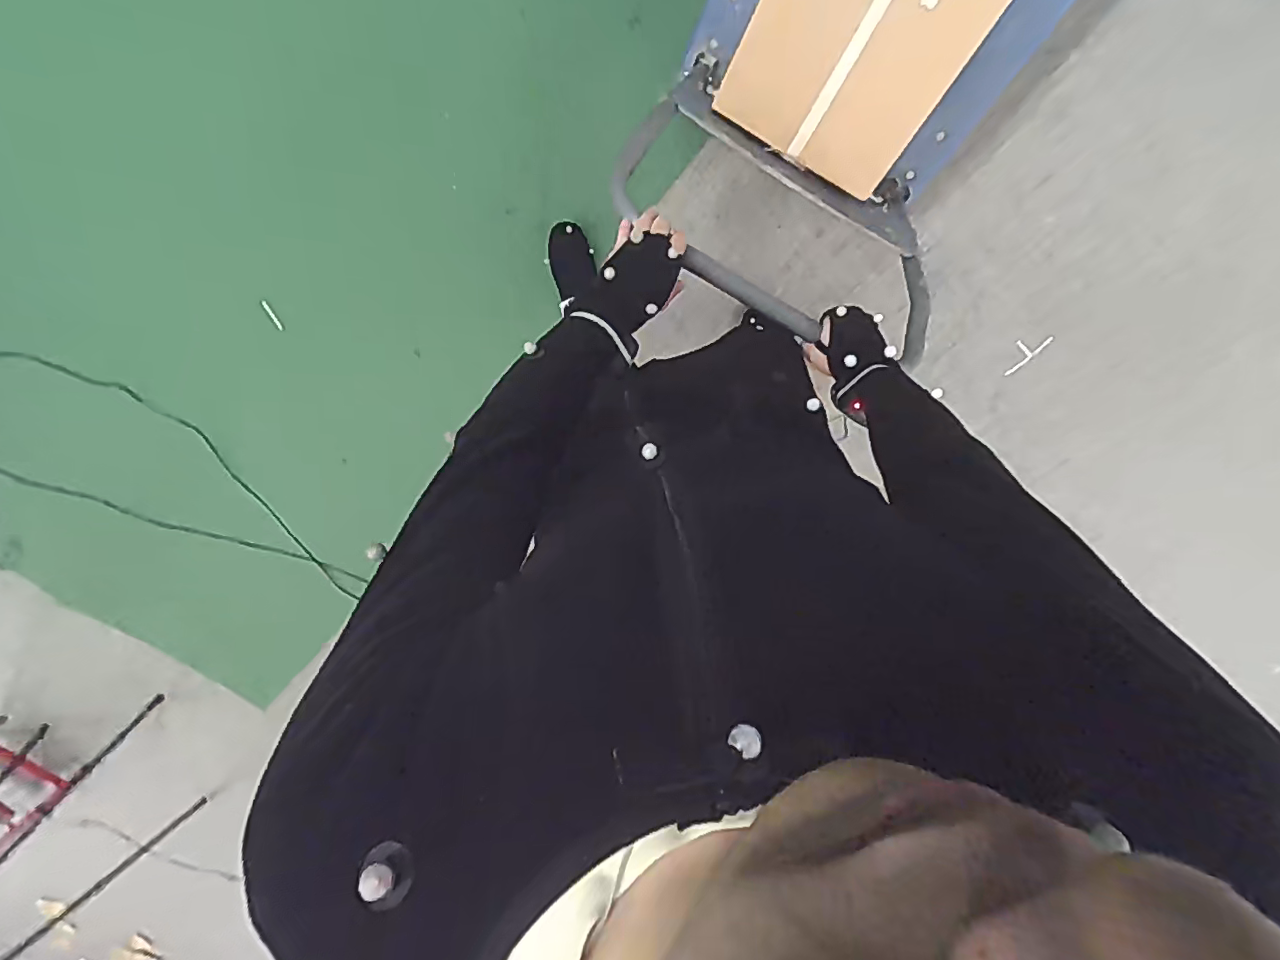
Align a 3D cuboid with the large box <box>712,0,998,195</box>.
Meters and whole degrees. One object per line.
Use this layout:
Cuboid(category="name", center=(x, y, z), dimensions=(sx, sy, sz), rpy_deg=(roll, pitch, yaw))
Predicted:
Cuboid(category="large box", center=(0.366, -0.783, 0.913), dimensions=(0.320, 0.320, 0.408), rpy_deg=(27, 132, -8))
